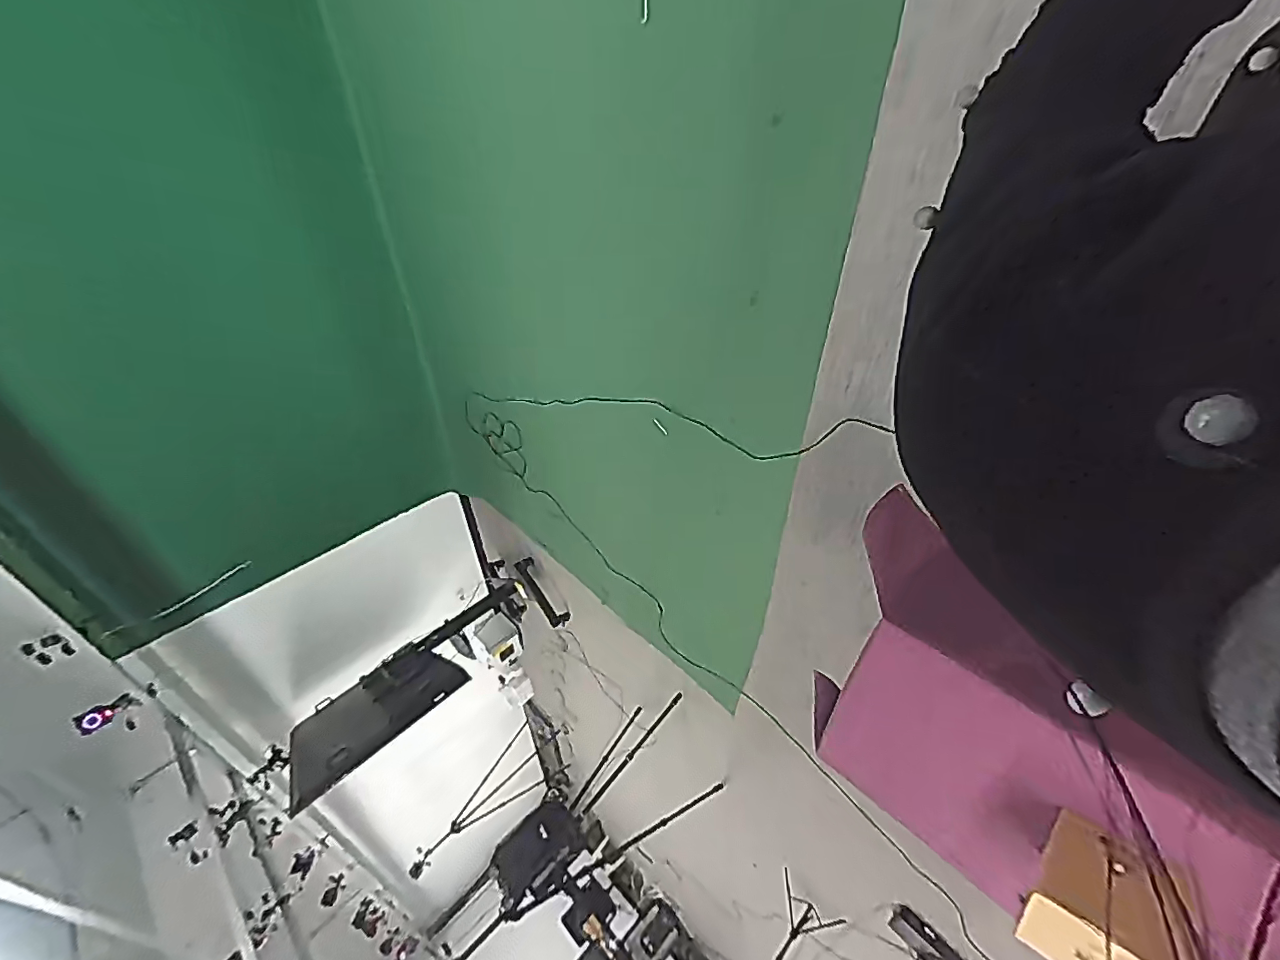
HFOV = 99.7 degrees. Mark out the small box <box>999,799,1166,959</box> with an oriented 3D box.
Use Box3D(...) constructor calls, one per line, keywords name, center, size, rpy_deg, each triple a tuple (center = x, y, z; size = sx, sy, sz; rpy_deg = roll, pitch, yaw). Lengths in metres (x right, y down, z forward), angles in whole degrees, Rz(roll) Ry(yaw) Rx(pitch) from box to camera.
Box3D(name="small box", center=(0.738, 0.691, 0.906), size=(0.168, 0.176, 0.179), rpy_deg=(22, 134, 41))
